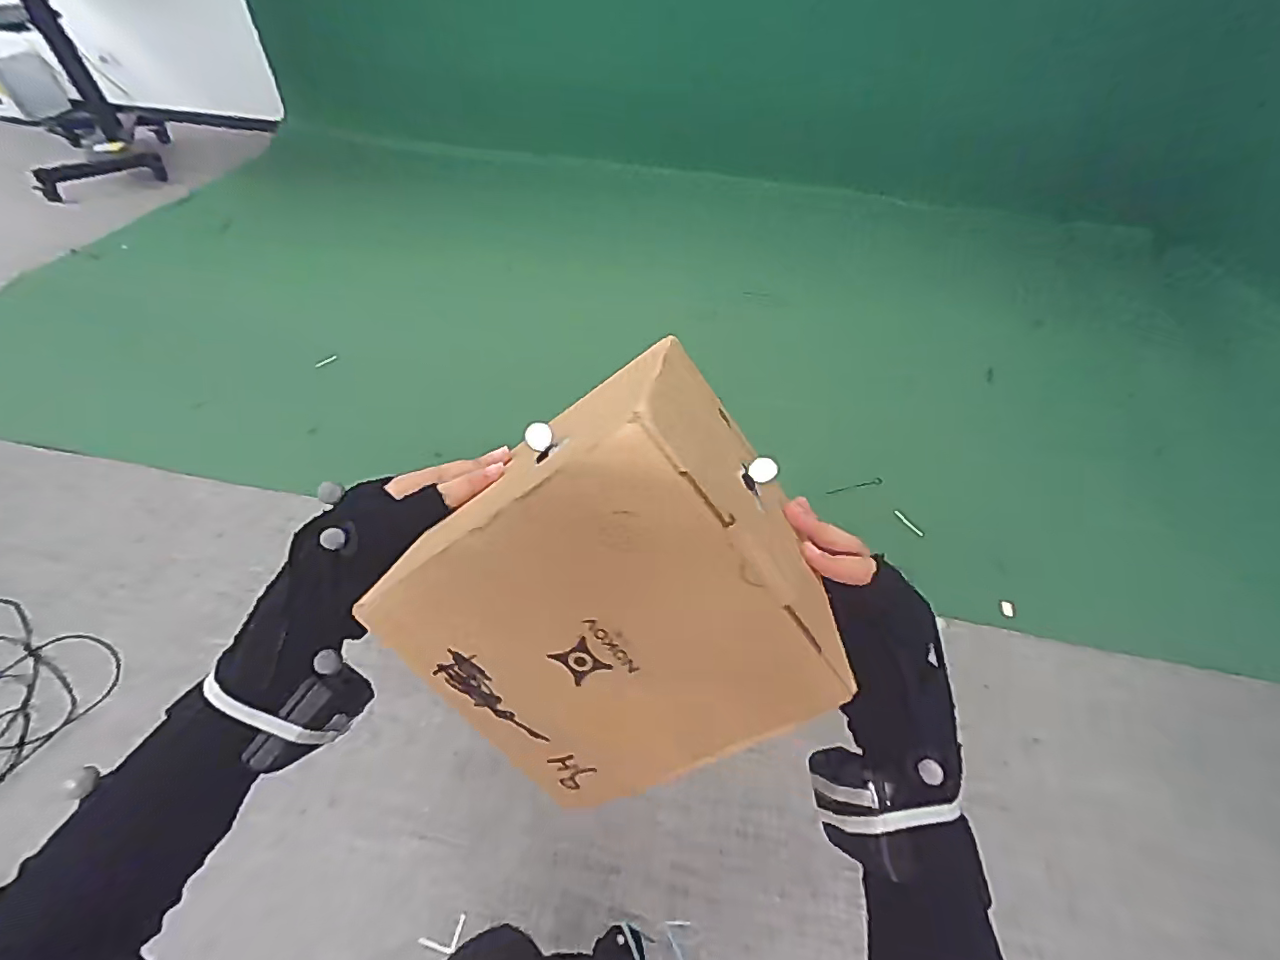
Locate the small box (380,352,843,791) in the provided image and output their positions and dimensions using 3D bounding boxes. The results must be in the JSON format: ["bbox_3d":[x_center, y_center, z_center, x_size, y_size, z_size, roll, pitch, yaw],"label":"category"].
[{"bbox_3d":[-0.008,0.044,0.337,0.179,0.168,0.176,-33,16,20],"label":"small box"}]
